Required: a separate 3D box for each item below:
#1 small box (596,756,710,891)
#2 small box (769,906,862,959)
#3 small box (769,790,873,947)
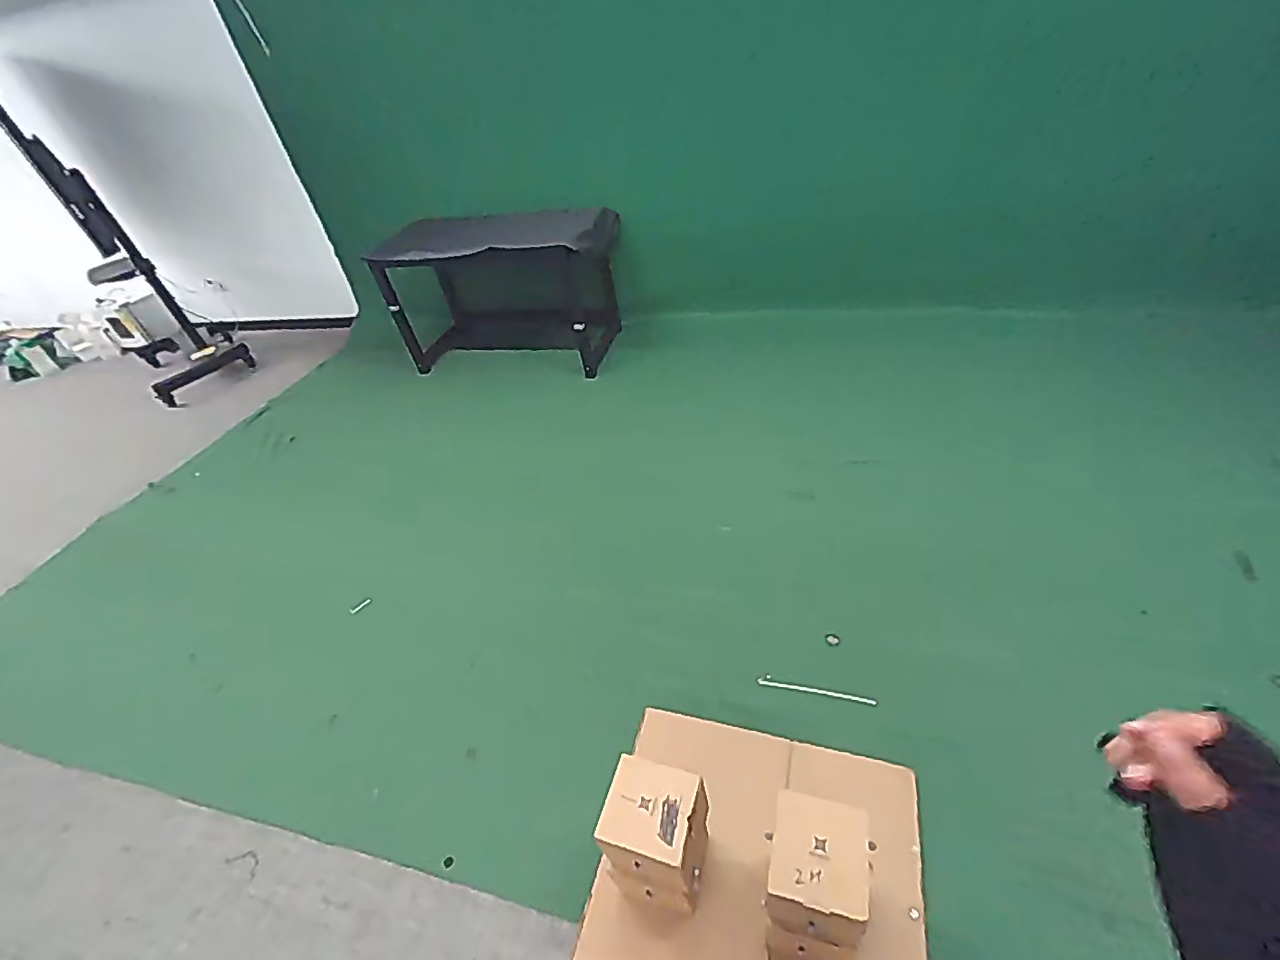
[{"bbox_3d":[0.036,0.701,1.099,0.179,0.176,0.168,5,42,22],"label":"small box"},{"bbox_3d":[0.355,0.856,1.105,0.168,0.176,0.179,4,42,17],"label":"small box"},{"bbox_3d":[0.335,0.722,1.008,0.168,0.176,0.179,5,42,19],"label":"small box"}]
